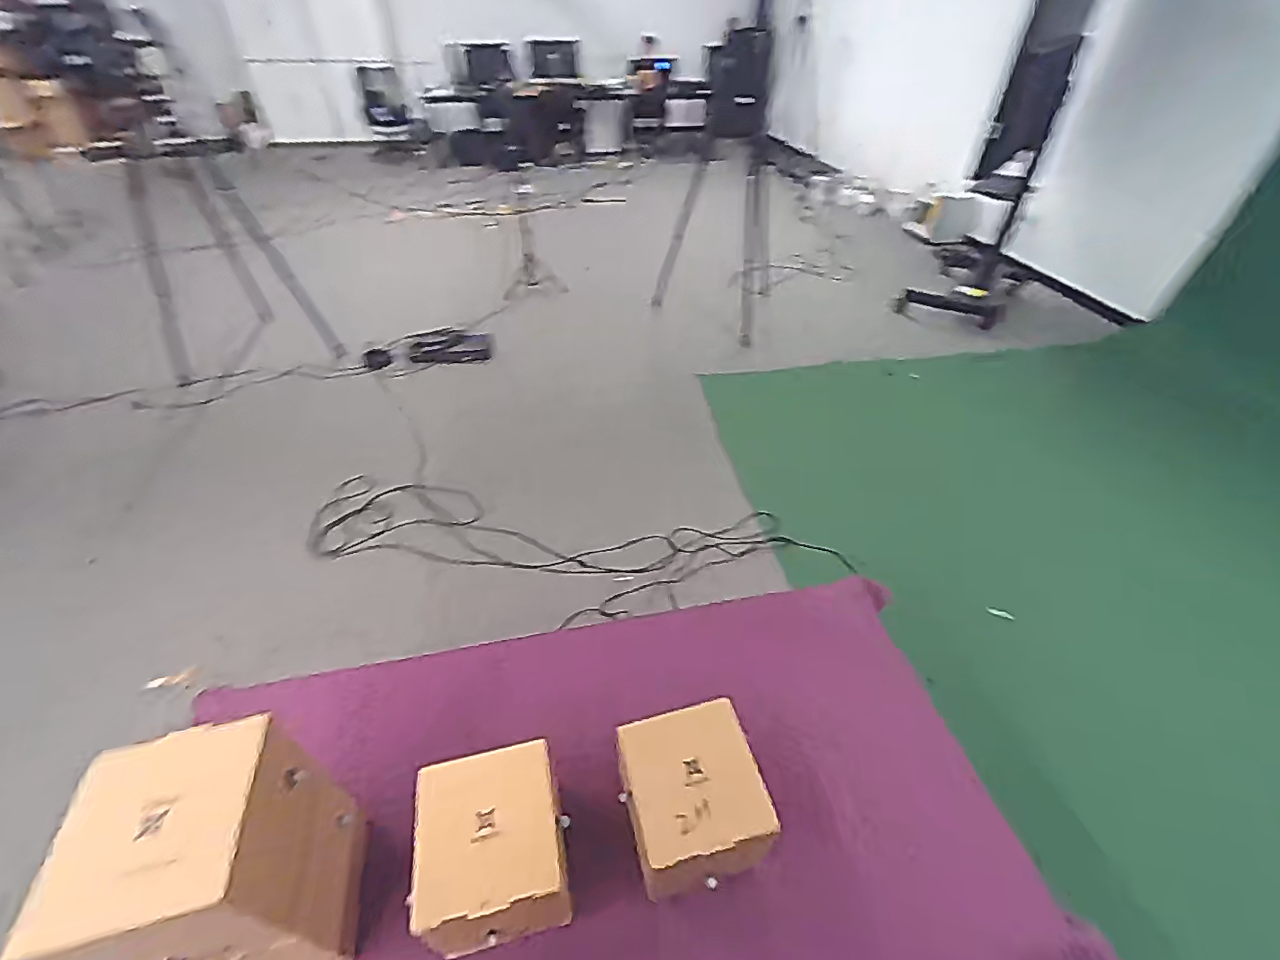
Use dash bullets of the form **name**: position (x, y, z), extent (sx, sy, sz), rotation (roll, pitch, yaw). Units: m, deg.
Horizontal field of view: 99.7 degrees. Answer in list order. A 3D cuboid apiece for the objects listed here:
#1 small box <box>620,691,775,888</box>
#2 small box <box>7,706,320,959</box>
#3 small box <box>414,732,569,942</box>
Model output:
- **small box**: position (0.067, 0.435, 0.764), extent (0.168, 0.176, 0.179), rotation (-10, 44, -11)
- **small box**: position (-0.464, 0.376, 0.571), extent (0.168, 0.176, 0.179), rotation (-10, 43, -12)
- **small box**: position (-0.191, 0.472, 0.720), extent (0.168, 0.176, 0.179), rotation (-9, 44, -11)
